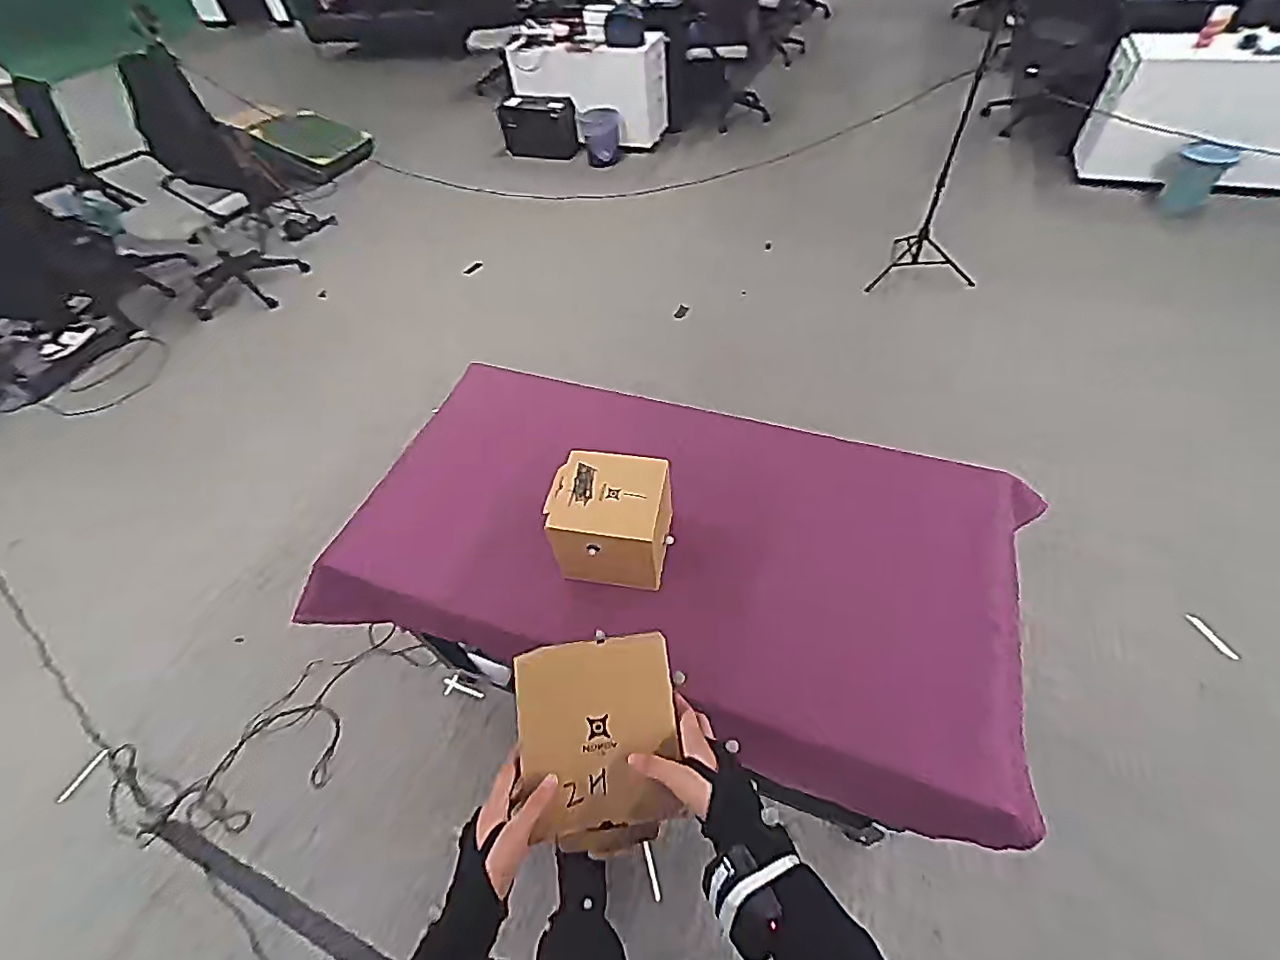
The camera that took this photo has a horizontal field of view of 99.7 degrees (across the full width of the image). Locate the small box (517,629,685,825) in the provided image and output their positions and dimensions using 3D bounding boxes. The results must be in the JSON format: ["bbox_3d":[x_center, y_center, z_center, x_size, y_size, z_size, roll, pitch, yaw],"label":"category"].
[{"bbox_3d":[-0.043,0.271,0.637,0.168,0.176,0.179,-6,77,-1],"label":"small box"}]

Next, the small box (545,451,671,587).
[{"bbox_3d":[-0.045,0.071,0.942,0.179,0.176,0.168,6,53,10],"label":"small box"}]
